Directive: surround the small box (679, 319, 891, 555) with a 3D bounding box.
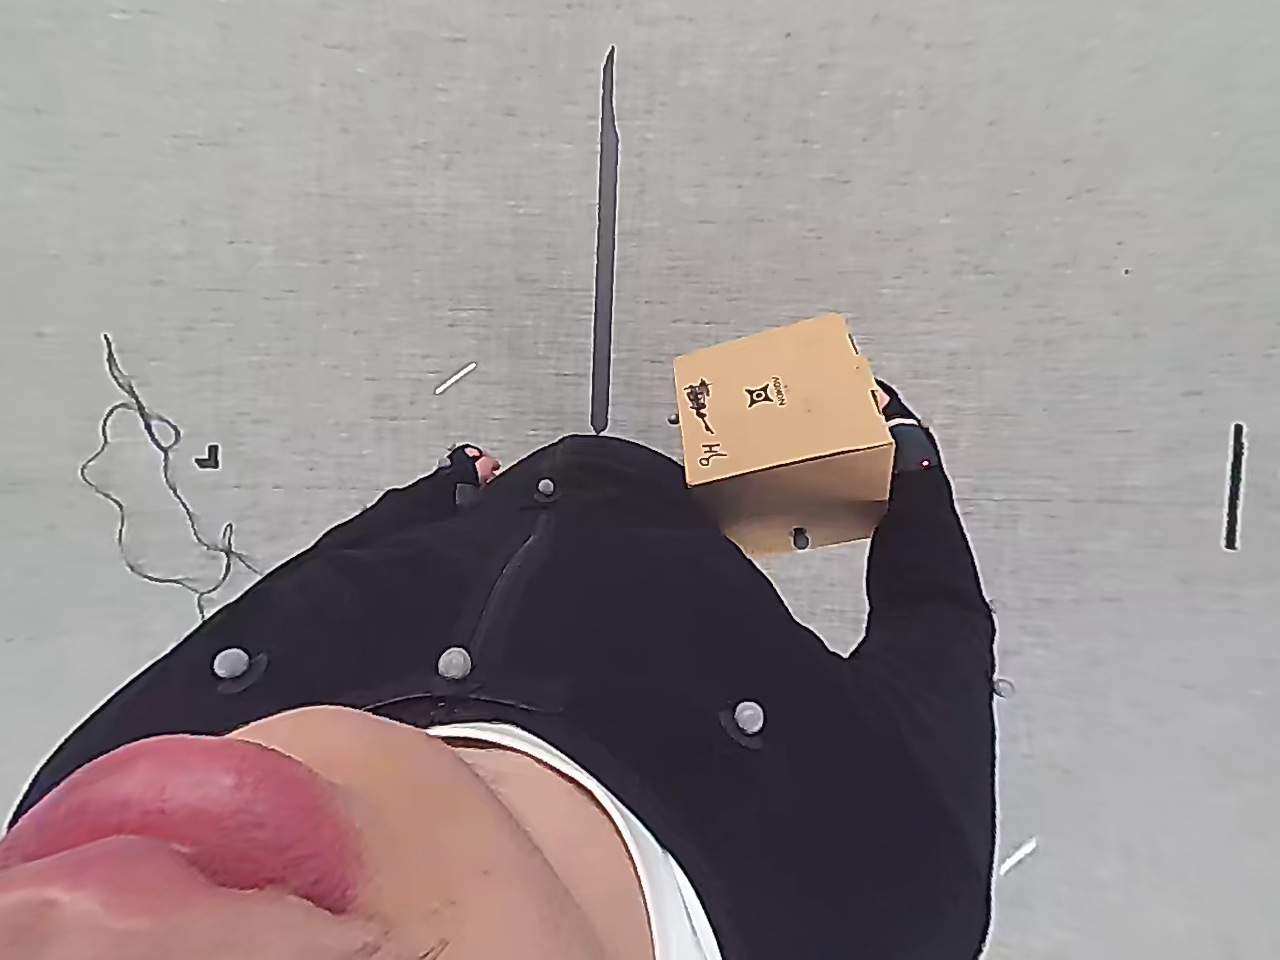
[{"bbox_3d":[0.150,-0.037,0.581,0.179,0.176,0.168,-12,53,13],"label":"small box"}]
